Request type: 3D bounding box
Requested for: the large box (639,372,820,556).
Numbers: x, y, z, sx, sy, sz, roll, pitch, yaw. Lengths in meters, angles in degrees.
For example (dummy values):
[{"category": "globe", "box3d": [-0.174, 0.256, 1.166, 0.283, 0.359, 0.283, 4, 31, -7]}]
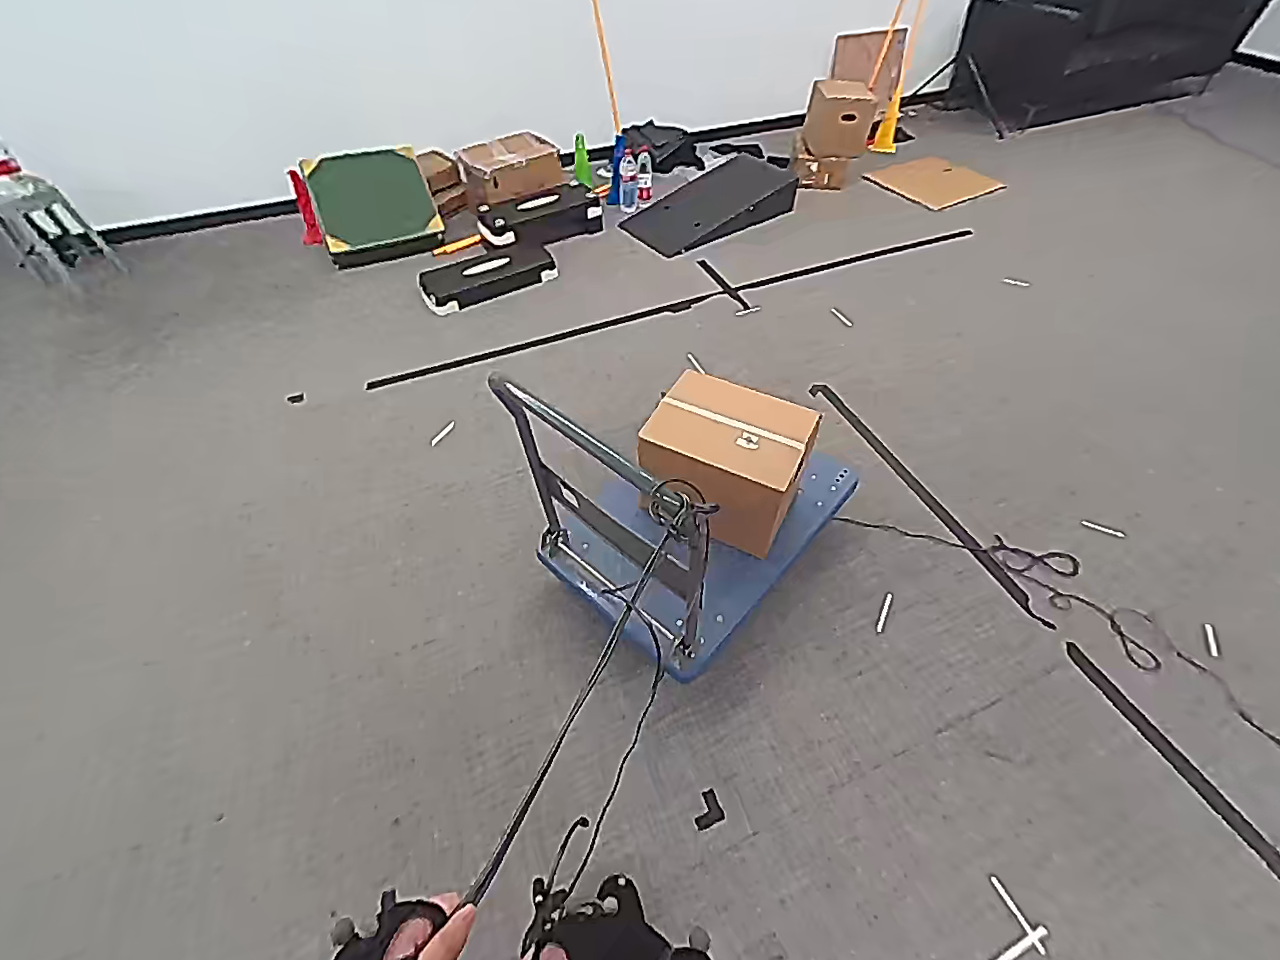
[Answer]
[{"category": "large box", "box3d": [0.239, -0.048, 1.541, 0.408, 0.320, 0.320, 23, 55, 18]}]
